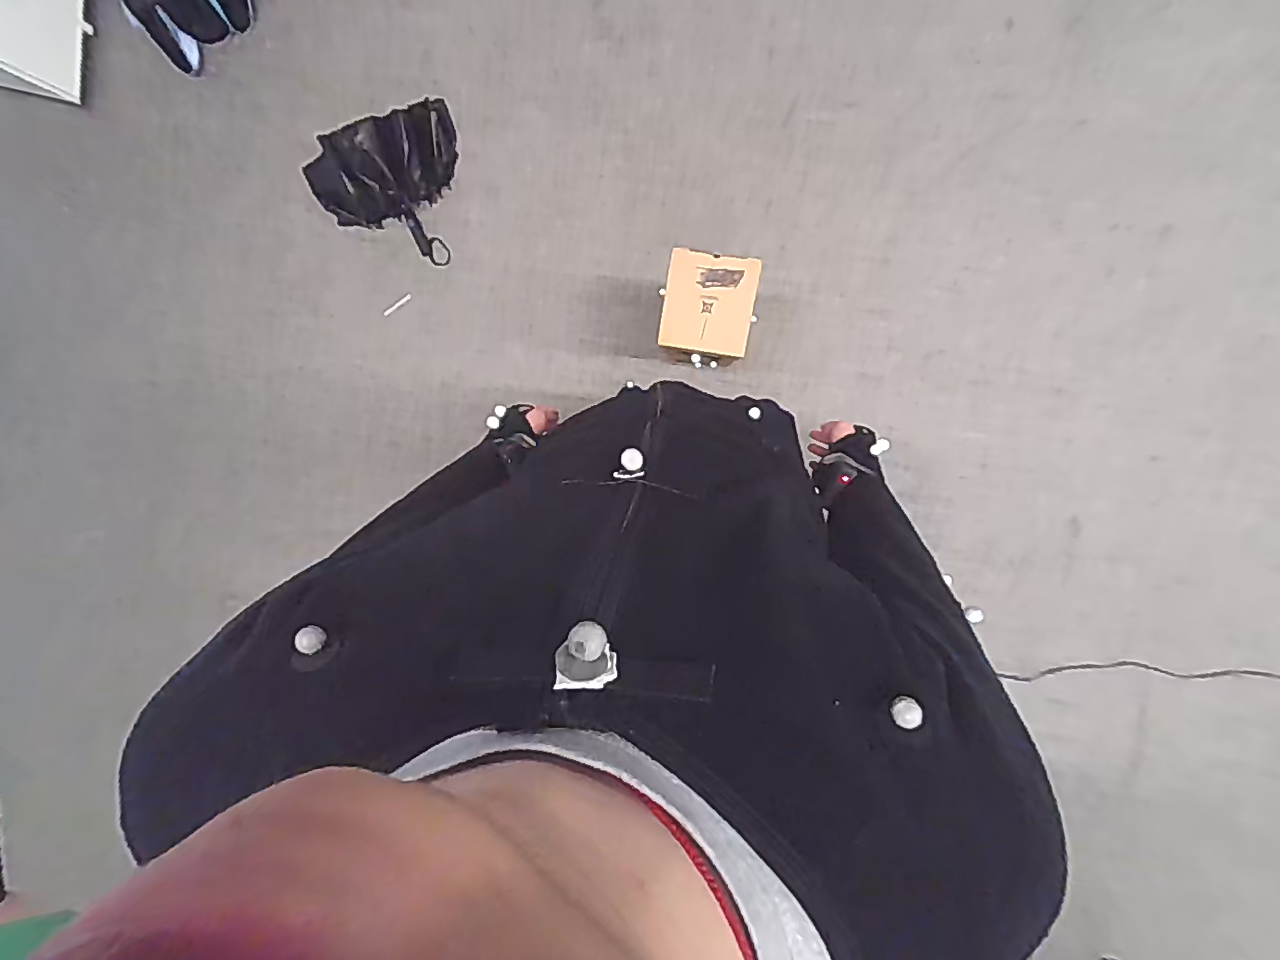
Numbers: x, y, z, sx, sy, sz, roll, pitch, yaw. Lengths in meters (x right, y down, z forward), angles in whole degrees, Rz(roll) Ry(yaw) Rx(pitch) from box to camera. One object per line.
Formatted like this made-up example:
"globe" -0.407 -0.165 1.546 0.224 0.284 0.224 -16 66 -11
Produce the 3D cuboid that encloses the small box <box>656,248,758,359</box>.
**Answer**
"small box" 0.128 -0.344 1.081 0.168 0.176 0.179 10 102 3
